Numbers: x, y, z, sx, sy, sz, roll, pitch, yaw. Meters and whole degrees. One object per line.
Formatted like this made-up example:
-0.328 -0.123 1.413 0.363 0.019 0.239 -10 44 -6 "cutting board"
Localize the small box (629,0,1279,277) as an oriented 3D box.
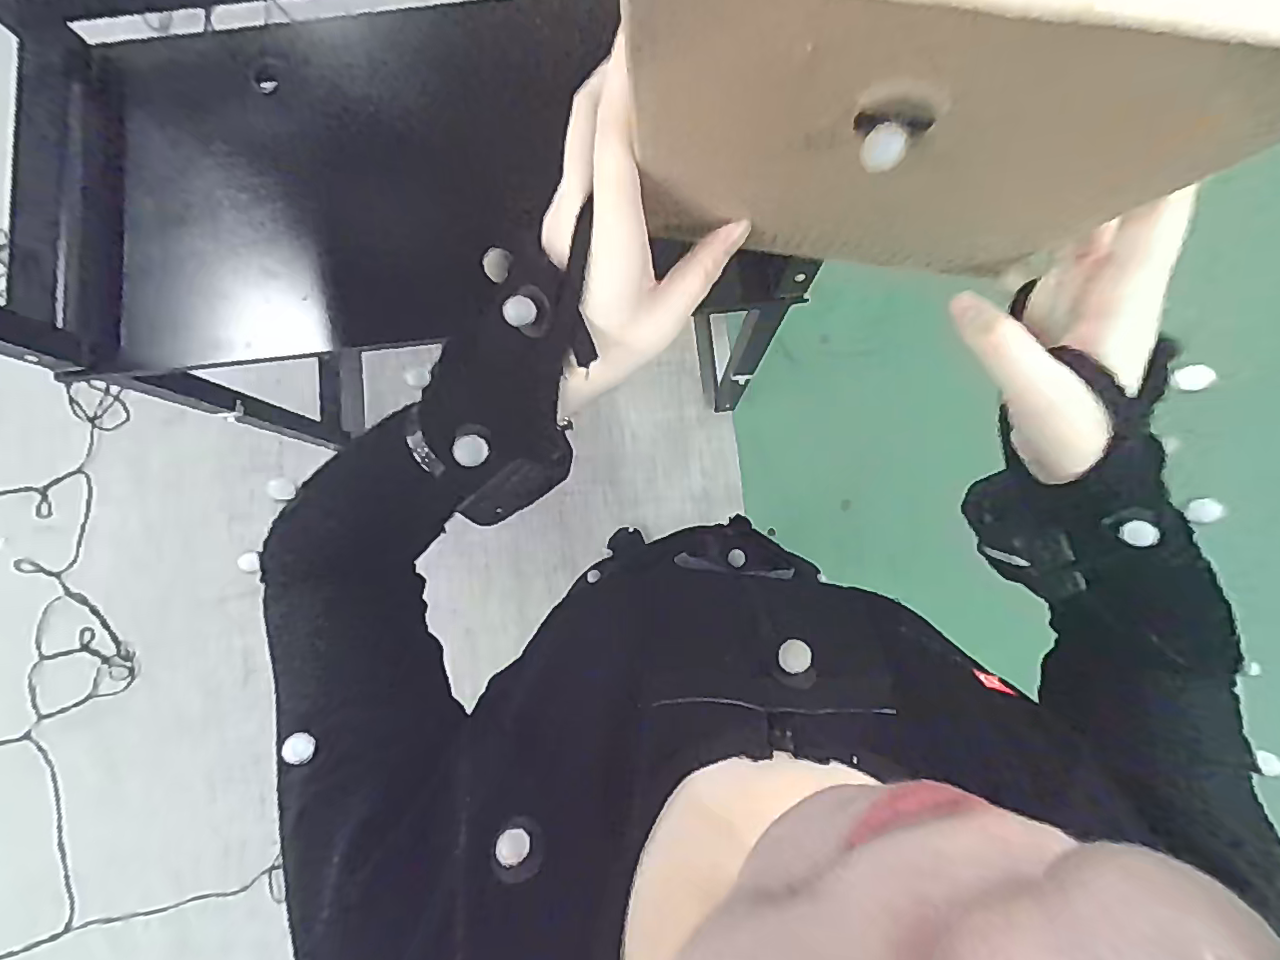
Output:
0.096 -0.185 0.196 0.179 0.176 0.168 8 97 0 "small box"
